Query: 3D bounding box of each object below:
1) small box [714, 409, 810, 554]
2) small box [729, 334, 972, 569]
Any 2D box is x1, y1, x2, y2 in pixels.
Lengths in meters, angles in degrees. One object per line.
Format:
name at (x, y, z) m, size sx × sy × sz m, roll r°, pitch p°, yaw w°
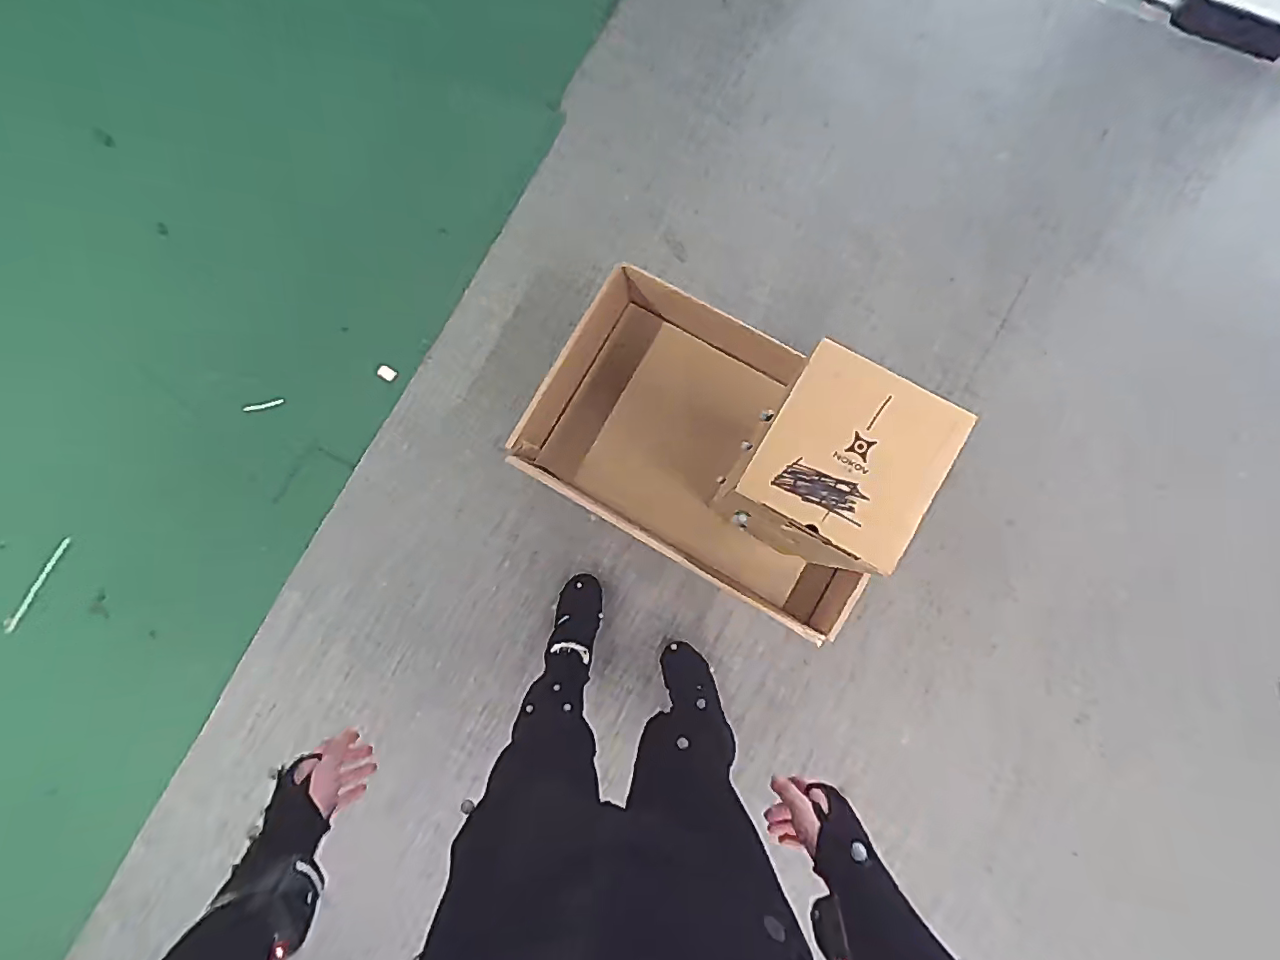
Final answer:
small box at (0.235, 0.007, 0.919) m, size 0.168 × 0.176 × 0.179 m, roll 31°, pitch 88°, yaw 7°
small box at (0.209, -0.021, 0.593) m, size 0.168 × 0.176 × 0.179 m, roll 30°, pitch 87°, yaw 7°
